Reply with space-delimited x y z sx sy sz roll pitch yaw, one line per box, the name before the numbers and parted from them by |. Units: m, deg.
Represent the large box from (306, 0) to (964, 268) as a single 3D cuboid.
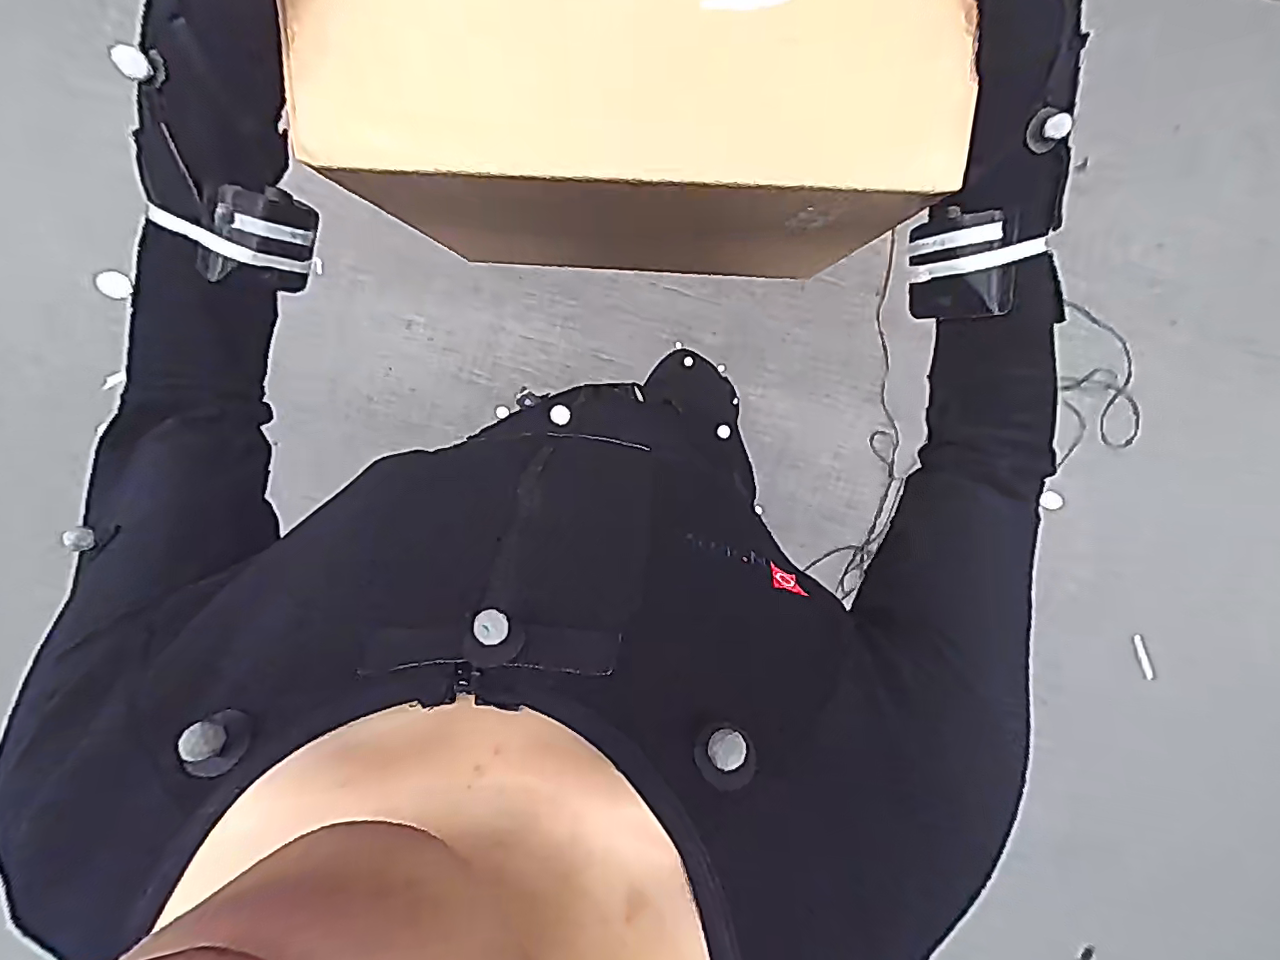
large box | -0.002 -0.374 0.461 0.408 0.320 0.320 2 101 0
